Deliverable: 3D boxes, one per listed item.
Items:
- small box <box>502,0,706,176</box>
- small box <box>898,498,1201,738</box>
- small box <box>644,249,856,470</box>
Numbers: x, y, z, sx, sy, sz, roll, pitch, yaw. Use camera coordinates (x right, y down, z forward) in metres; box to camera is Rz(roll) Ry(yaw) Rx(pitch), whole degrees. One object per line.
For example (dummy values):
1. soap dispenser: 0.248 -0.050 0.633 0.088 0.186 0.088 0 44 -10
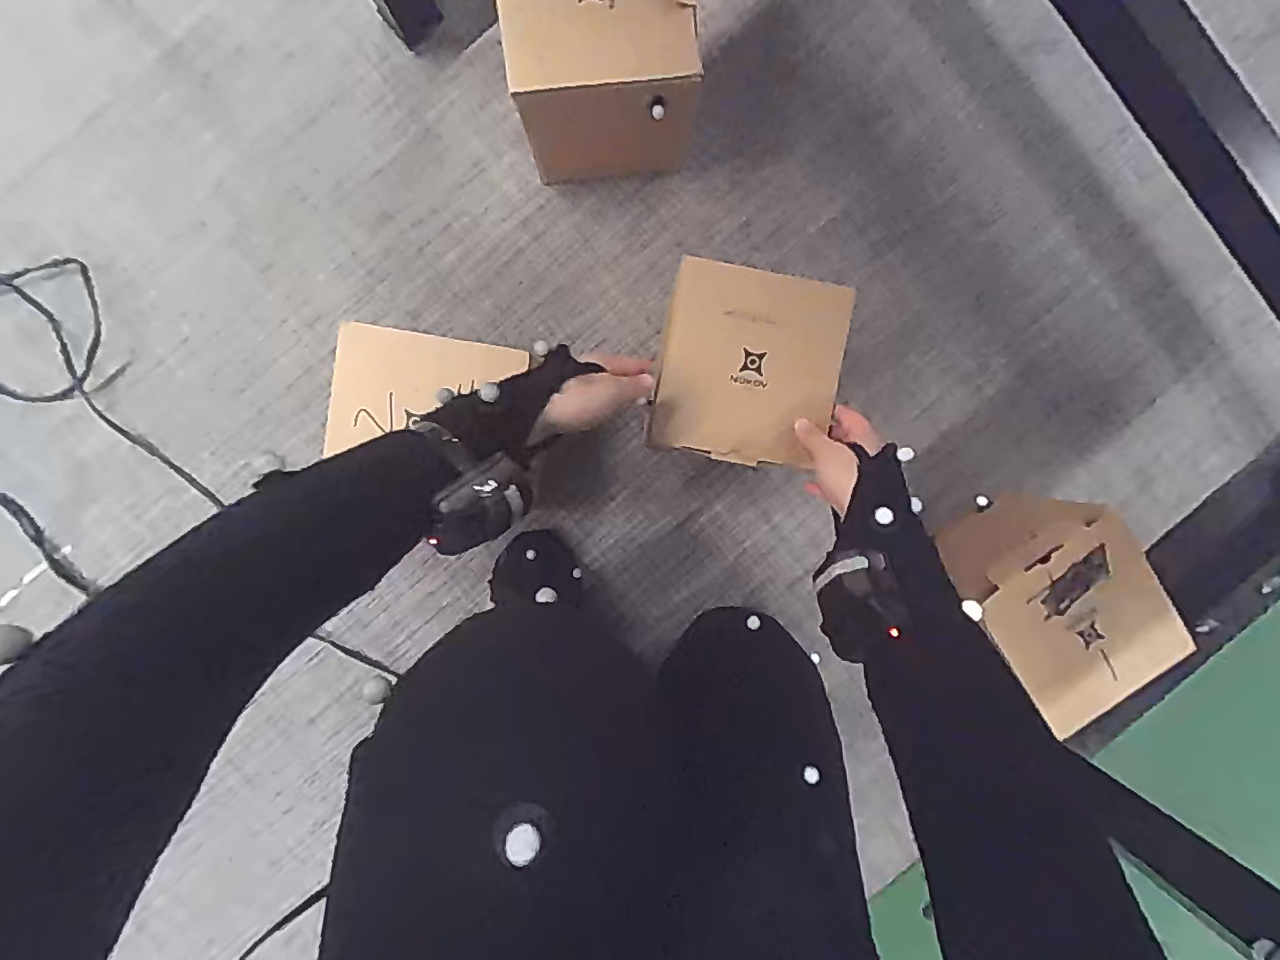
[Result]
1. small box: -0.037 -0.437 0.553 0.179 0.176 0.168 -7 93 -2
2. small box: 0.428 0.132 0.598 0.168 0.176 0.179 -34 95 1
3. small box: 0.099 -0.113 0.574 0.168 0.176 0.179 11 92 -3
